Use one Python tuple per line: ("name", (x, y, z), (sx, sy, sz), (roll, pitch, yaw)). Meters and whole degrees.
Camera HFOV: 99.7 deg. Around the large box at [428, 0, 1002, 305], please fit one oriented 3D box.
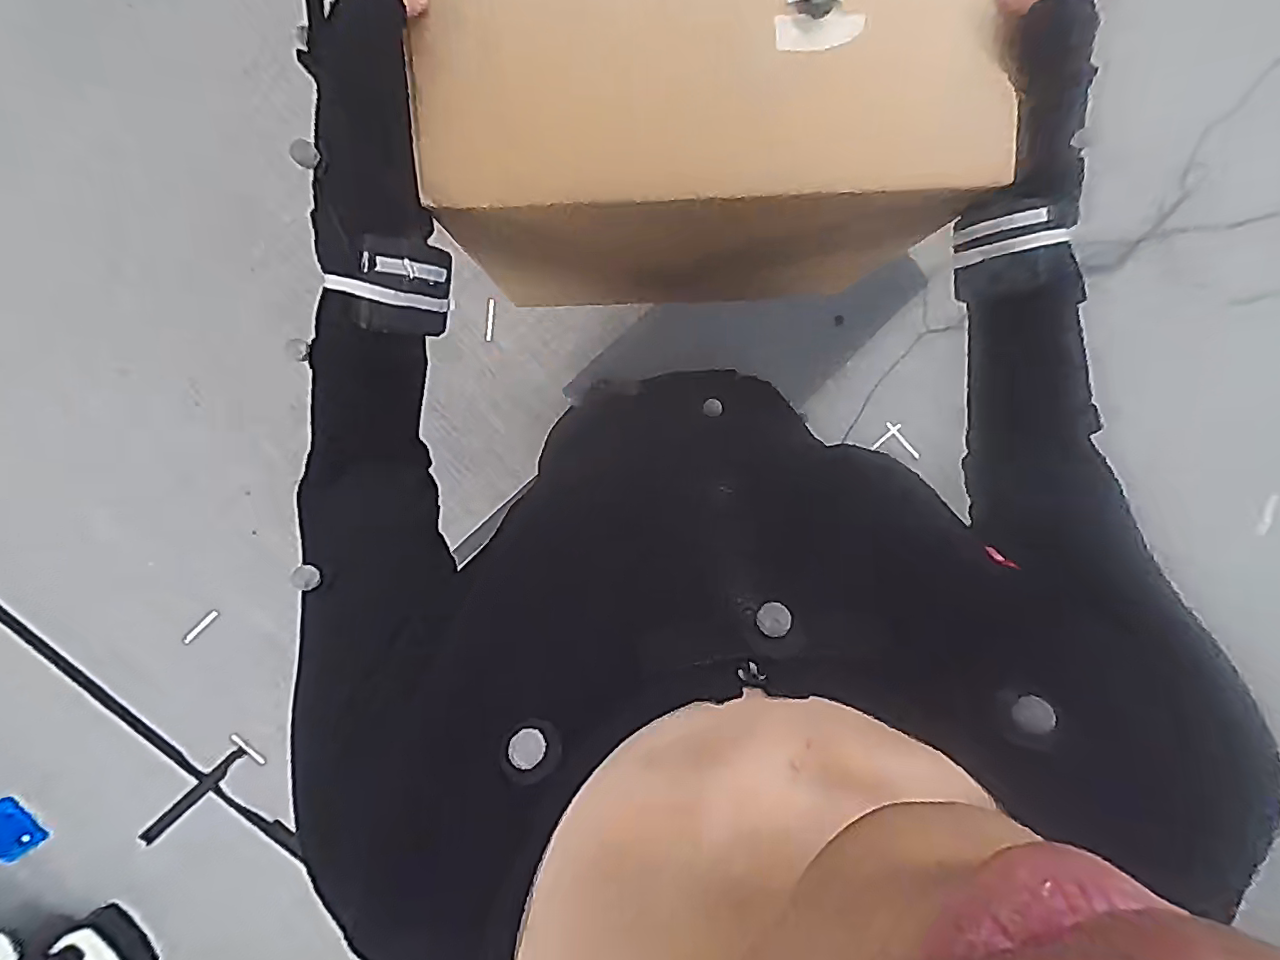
("large box", (0.046, -0.366, 0.517), (0.408, 0.320, 0.320), (-2, 96, -2))
